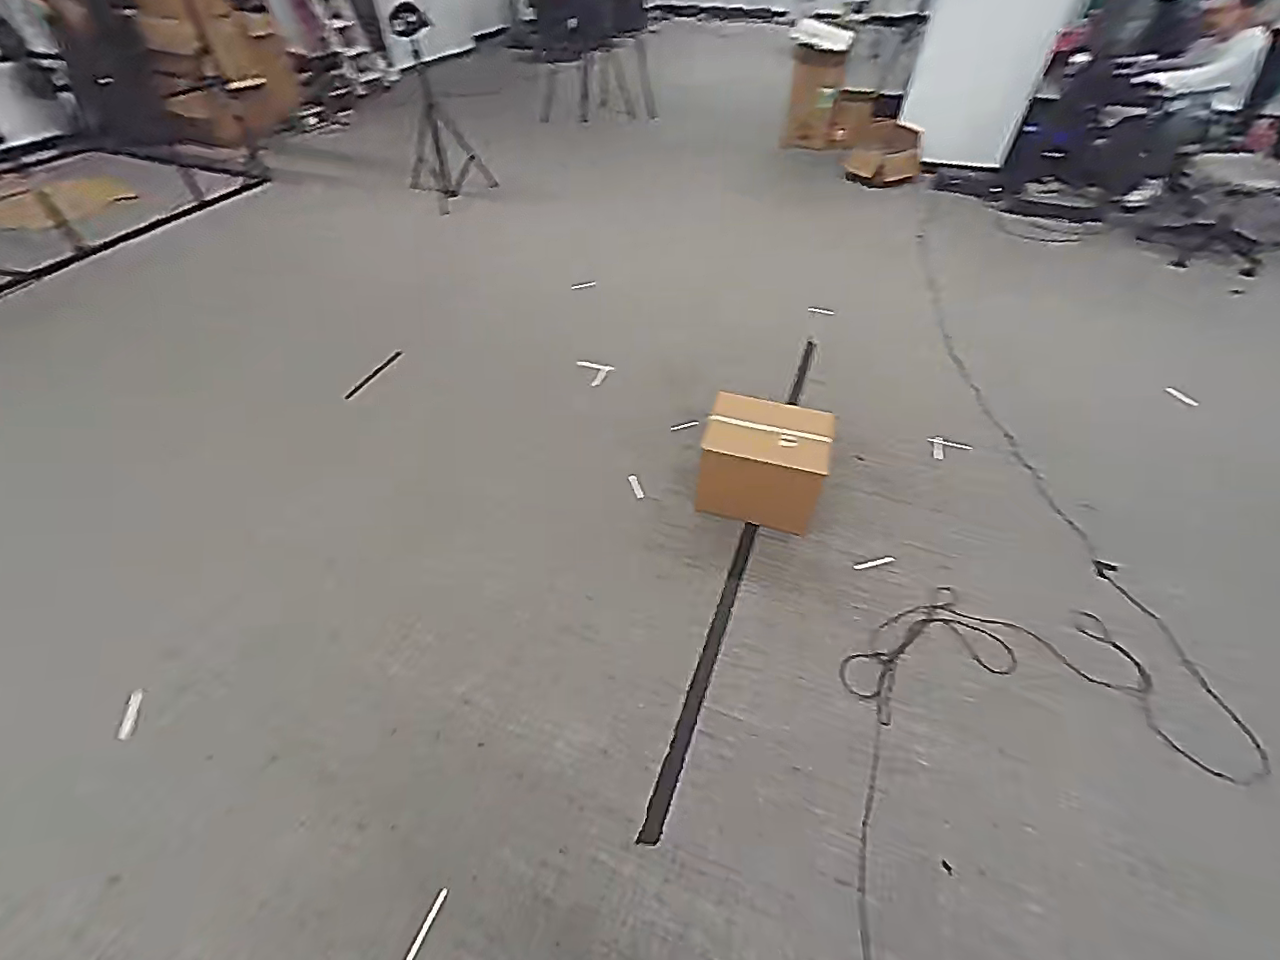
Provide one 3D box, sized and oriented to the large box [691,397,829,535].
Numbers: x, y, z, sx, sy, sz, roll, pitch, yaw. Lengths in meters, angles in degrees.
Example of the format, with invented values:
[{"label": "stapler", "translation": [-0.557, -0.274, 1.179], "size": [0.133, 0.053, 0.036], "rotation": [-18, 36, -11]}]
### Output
[{"label": "large box", "translation": [0.418, -0.052, 1.917], "size": [0.408, 0.320, 0.320], "rotation": [14, 48, 11]}]
